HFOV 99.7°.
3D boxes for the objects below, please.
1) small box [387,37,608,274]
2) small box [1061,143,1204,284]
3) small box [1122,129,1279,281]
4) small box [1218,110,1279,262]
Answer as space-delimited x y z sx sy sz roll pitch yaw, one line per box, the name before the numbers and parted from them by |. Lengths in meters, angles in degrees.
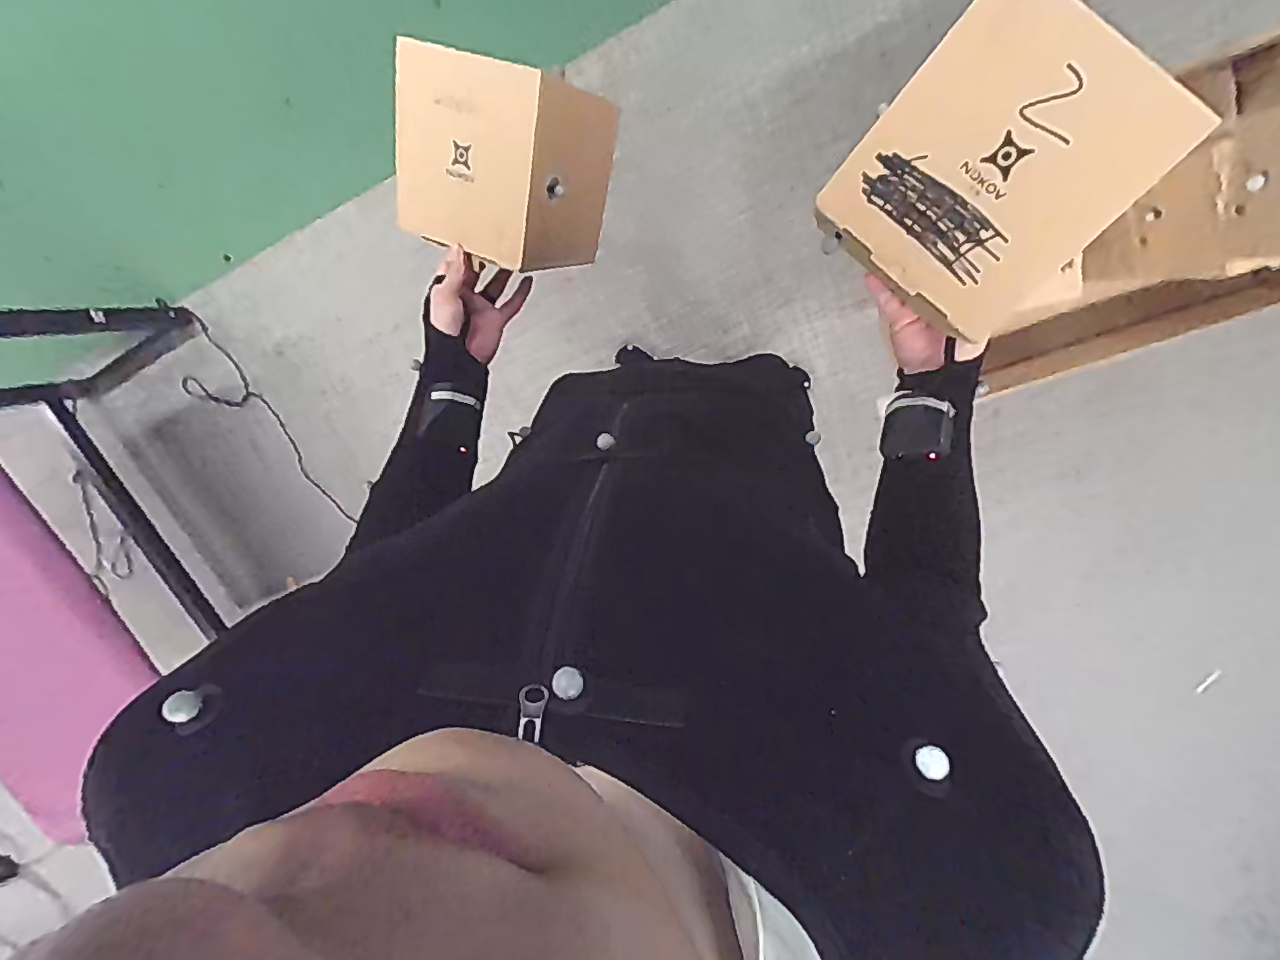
small box | -0.152 -0.346 0.599 0.168 0.176 0.179 24 121 14
small box | 0.846 -0.435 0.888 0.179 0.176 0.168 -18 103 14
small box | 0.820 -0.385 0.736 0.179 0.176 0.168 -19 104 15
small box | 0.799 -0.341 0.579 0.179 0.176 0.168 -9 106 13
